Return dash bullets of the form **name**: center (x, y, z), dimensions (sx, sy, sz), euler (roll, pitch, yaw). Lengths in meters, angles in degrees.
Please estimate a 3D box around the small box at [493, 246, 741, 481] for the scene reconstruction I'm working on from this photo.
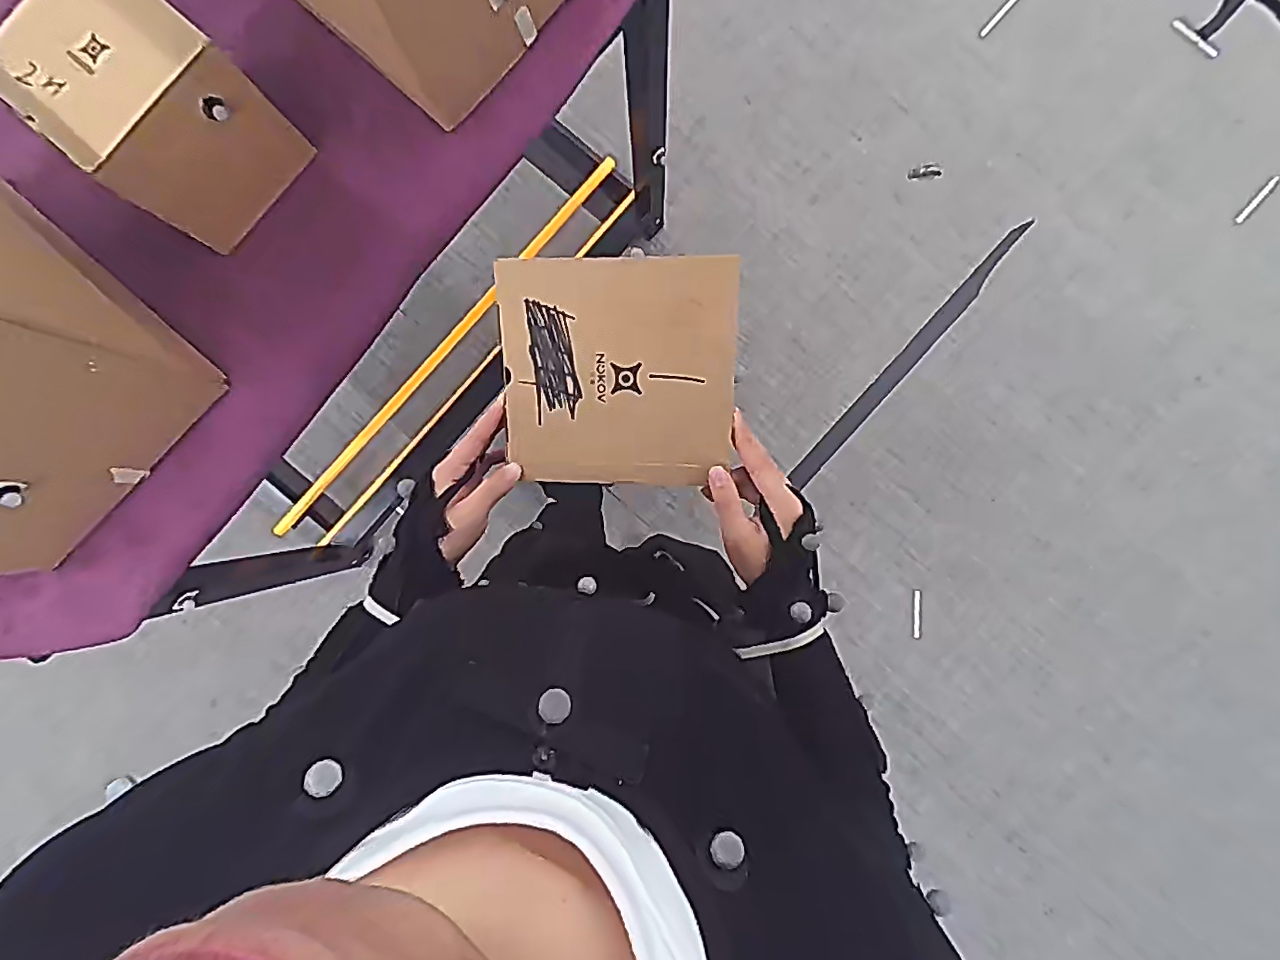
- **small box**: center (-0.010, -0.100, 0.467), dimensions (0.179, 0.176, 0.168), euler (1, 105, 5)

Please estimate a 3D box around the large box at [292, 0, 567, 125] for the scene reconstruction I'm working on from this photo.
- **large box**: center (-0.284, -0.669, 0.522), dimensions (0.408, 0.320, 0.320), euler (41, 88, 3)
